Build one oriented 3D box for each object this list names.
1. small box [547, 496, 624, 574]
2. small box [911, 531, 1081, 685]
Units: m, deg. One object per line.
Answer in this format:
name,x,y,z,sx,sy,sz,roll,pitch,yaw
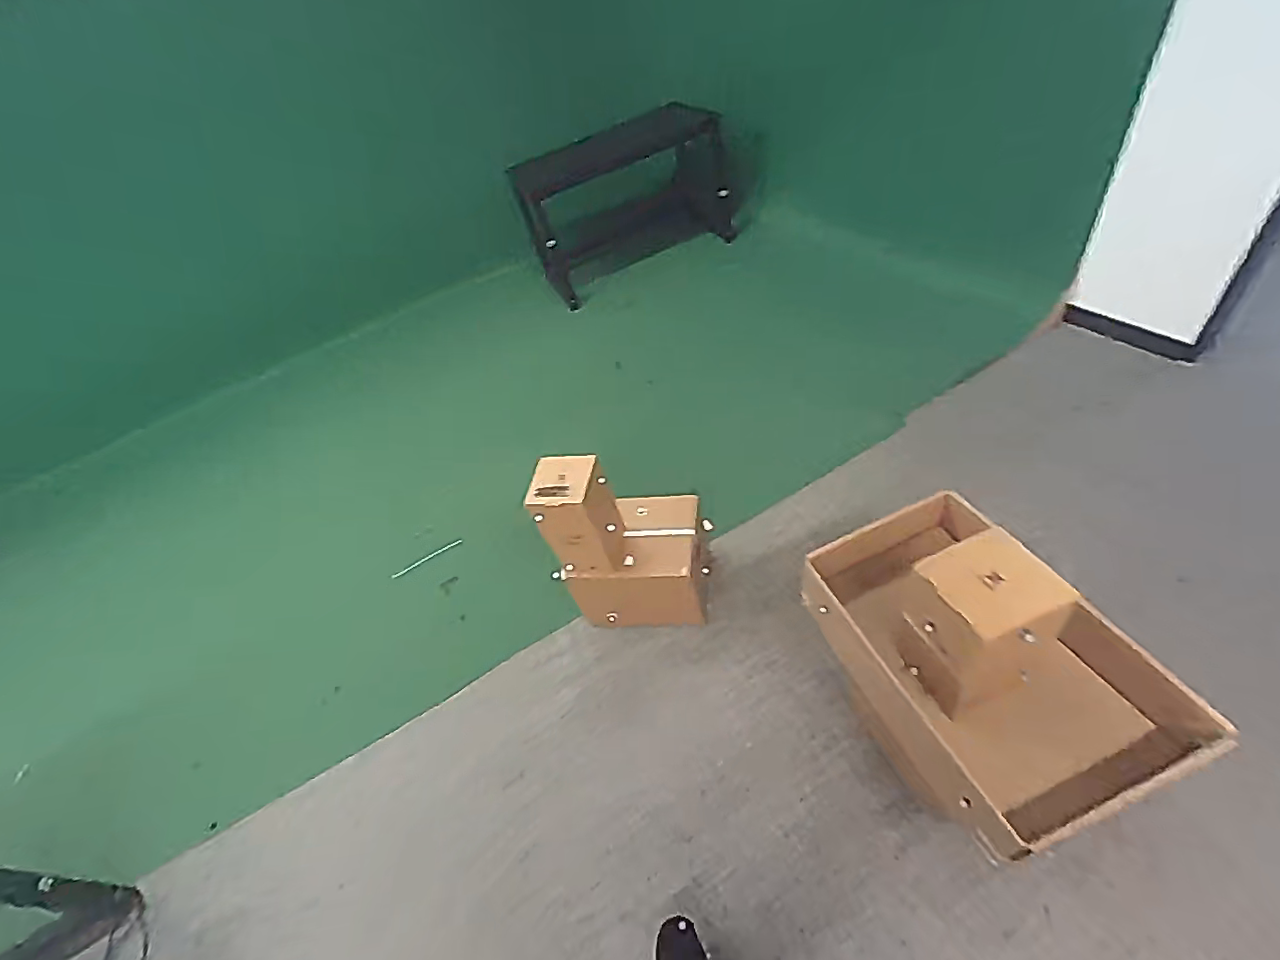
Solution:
small box,-0.155,0.166,1.629,0.168,0.176,0.179,0,47,16
small box,0.608,0.228,0.953,0.179,0.176,0.168,-24,44,-4
